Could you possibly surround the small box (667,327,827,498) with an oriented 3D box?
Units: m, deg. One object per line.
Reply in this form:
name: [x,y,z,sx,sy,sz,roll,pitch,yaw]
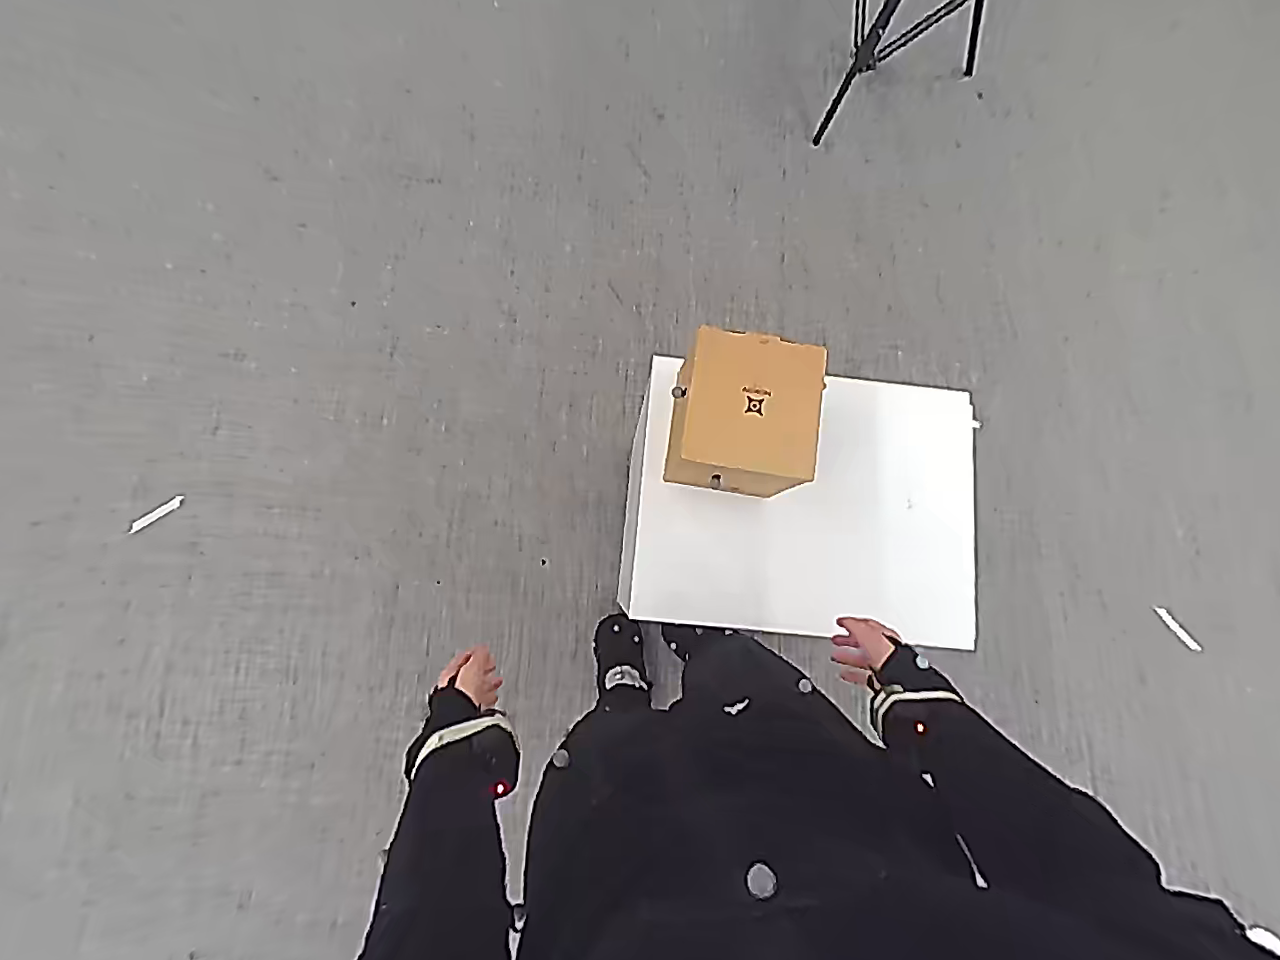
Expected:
small box: [0.134,-0.078,0.733,0.168,0.176,0.179,9,79,-3]
